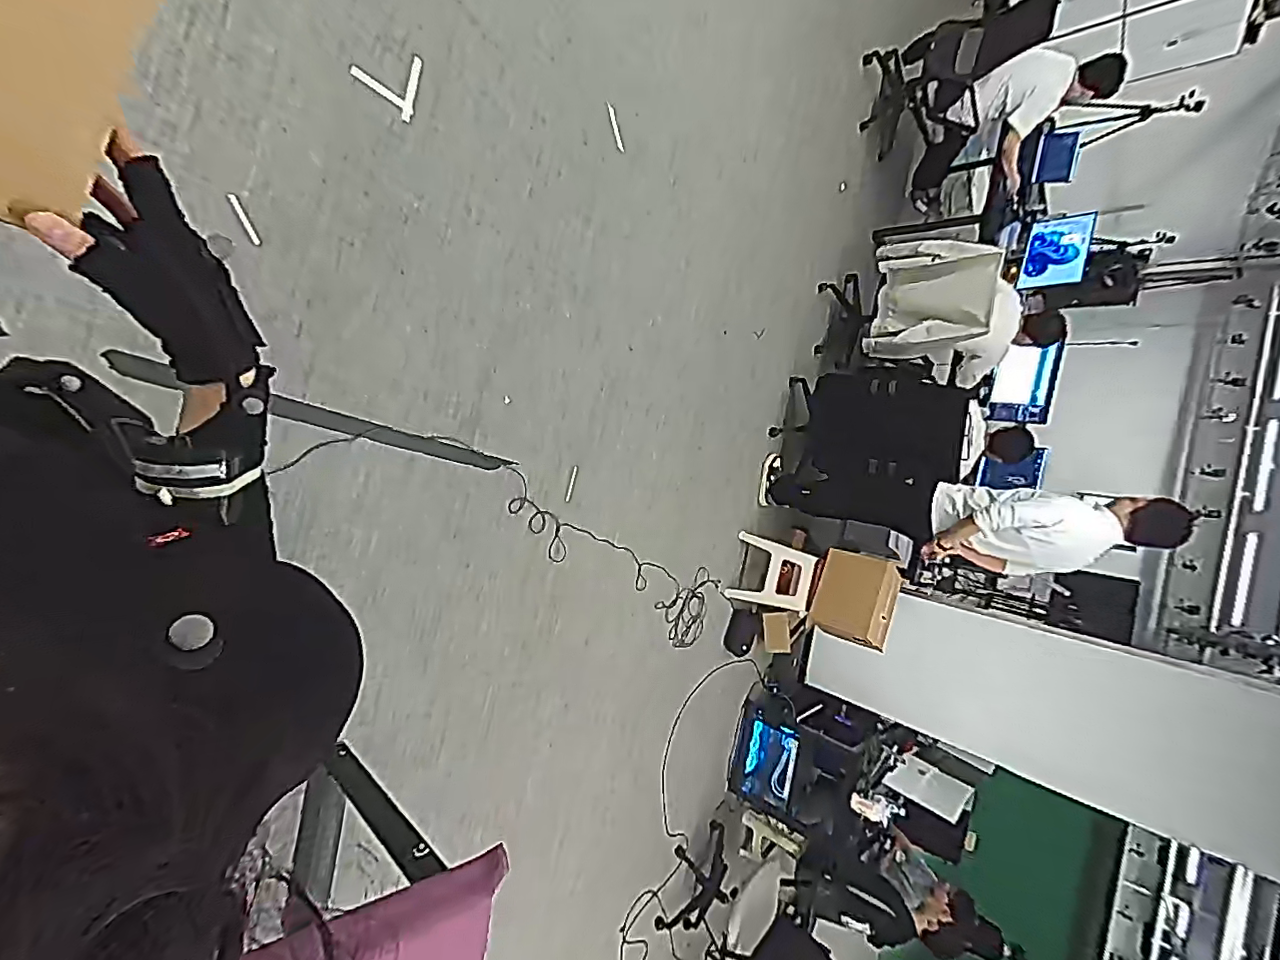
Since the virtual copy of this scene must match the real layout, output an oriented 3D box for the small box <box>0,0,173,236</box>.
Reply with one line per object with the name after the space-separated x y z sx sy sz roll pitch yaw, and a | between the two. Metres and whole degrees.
-0.384 -0.267 0.272 0.179 0.176 0.168 -58 152 9 | small box
